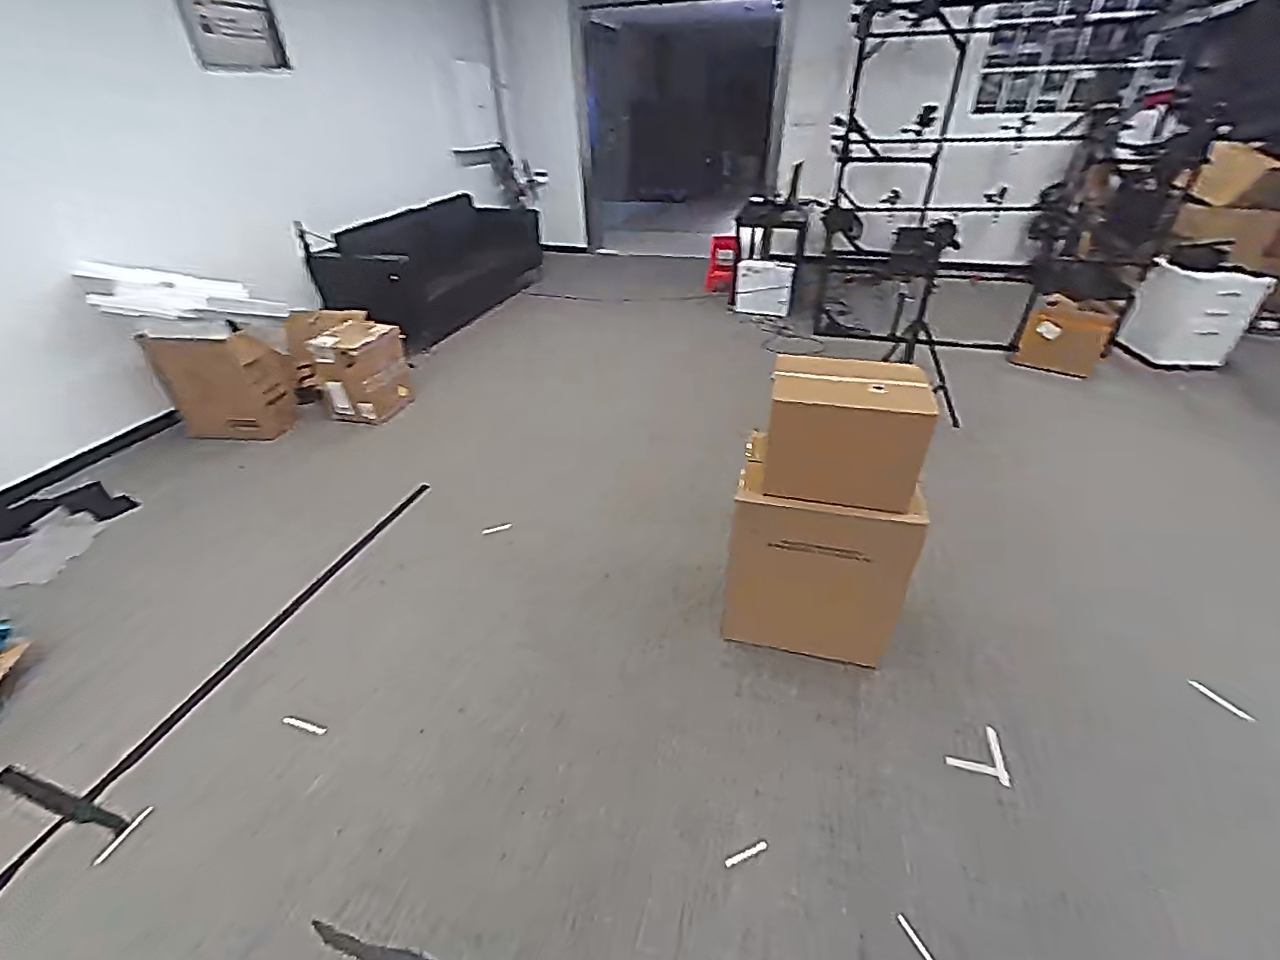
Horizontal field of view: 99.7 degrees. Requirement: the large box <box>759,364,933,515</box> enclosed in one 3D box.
[{"bbox_3d":[0.572,-0.125,1.581,0.408,0.320,0.320,8,36,12],"label":"large box"}]
